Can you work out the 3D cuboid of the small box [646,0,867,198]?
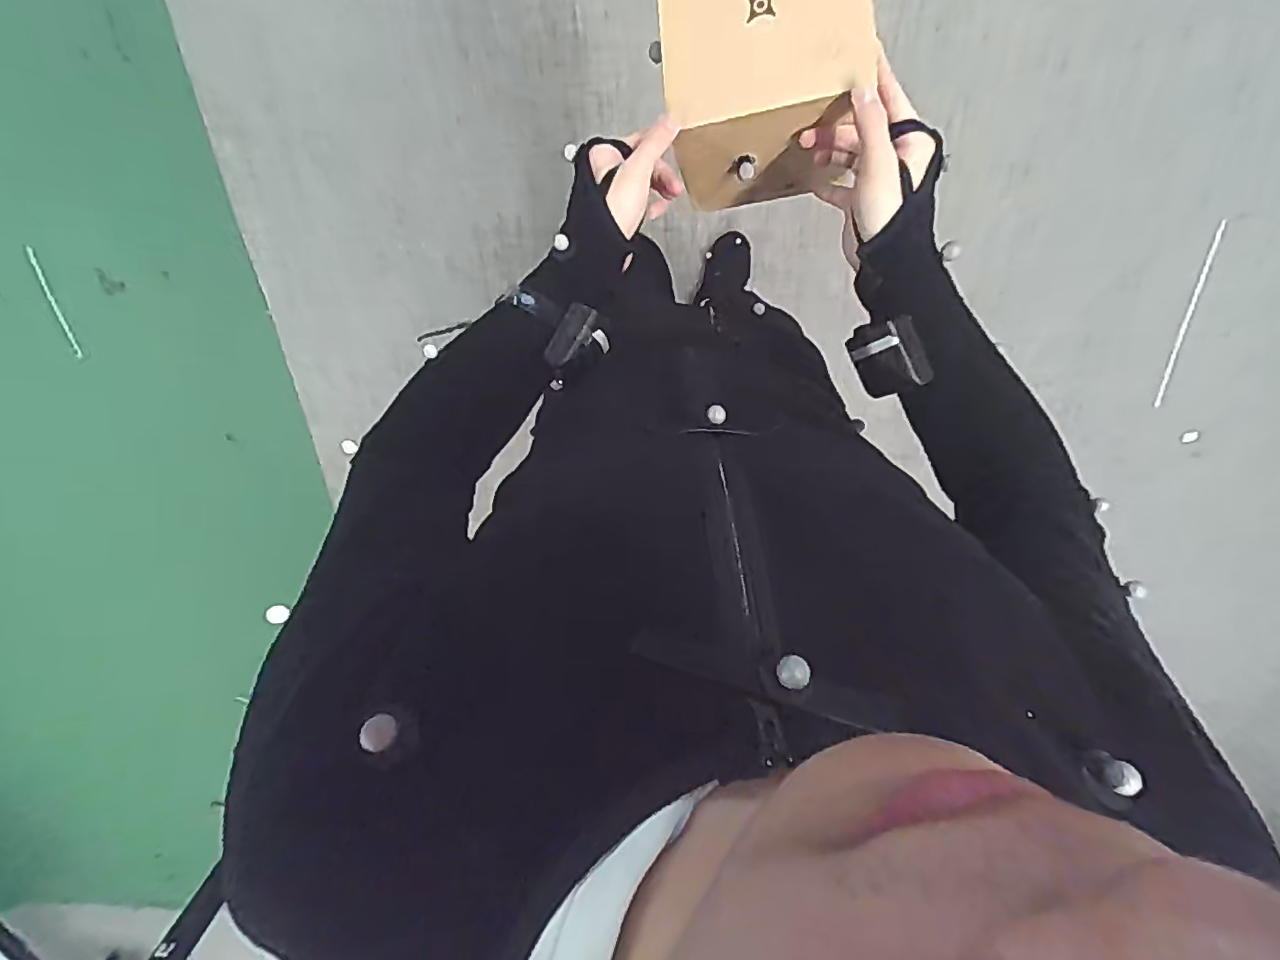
[{"bbox_3d":[0.105,-0.377,0.484,0.168,0.176,0.179,-2,93,14],"label":"small box"}]
